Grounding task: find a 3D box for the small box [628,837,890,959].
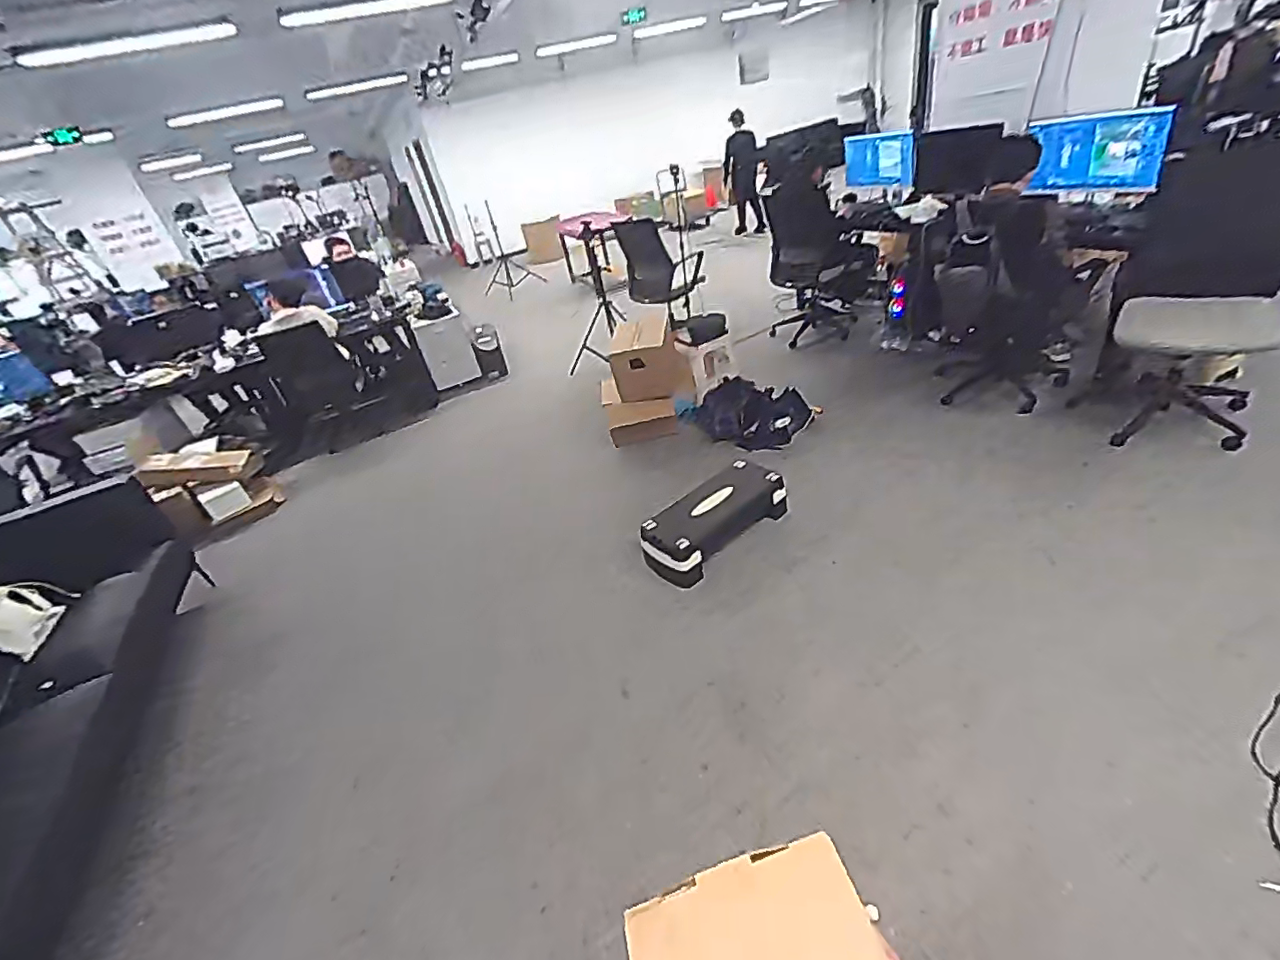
[{"bbox_3d":[0.106,0.397,0.381,0.168,0.176,0.179,-22,41,-1],"label":"small box"}]
